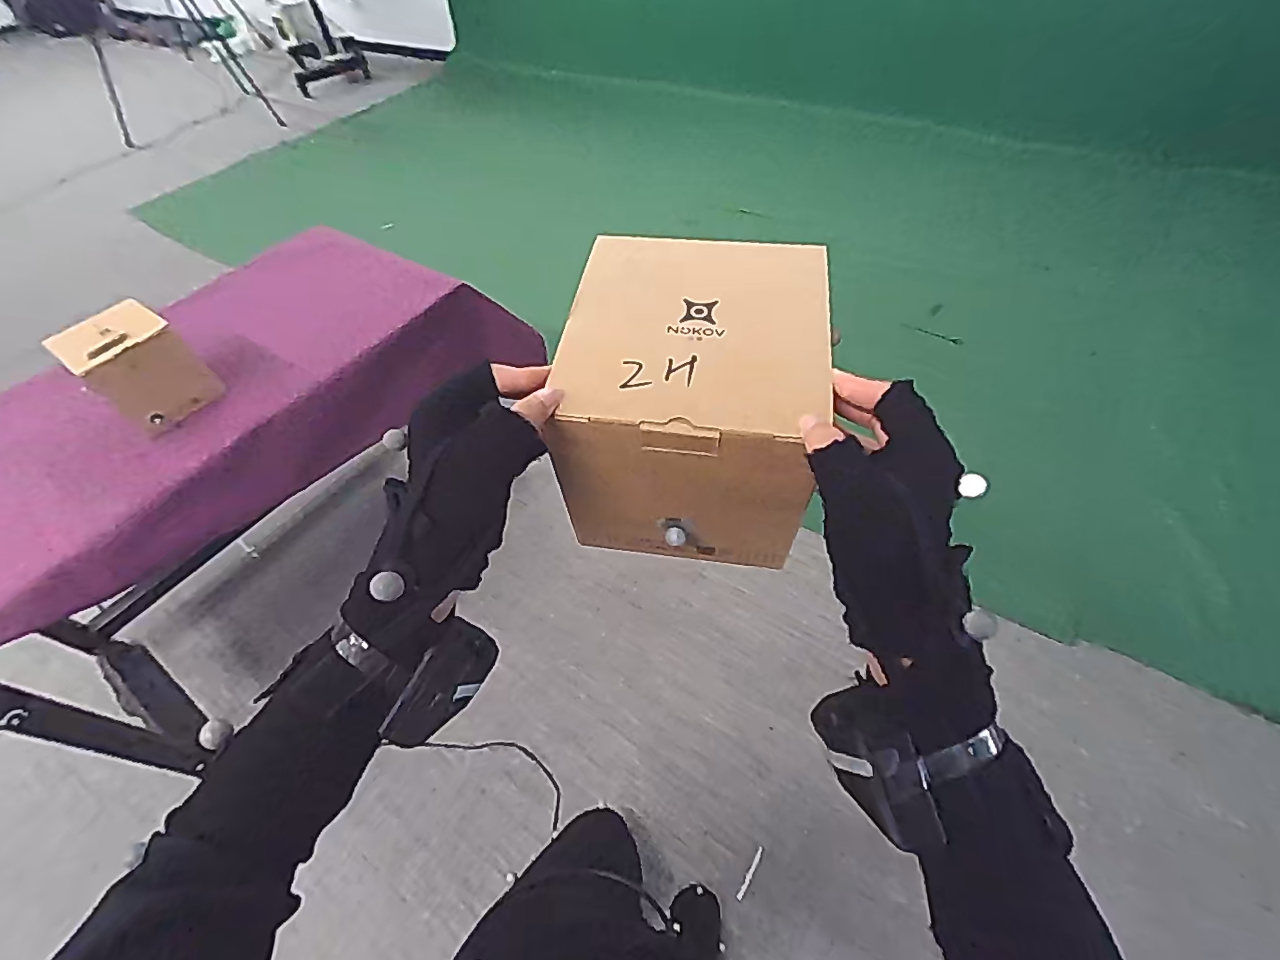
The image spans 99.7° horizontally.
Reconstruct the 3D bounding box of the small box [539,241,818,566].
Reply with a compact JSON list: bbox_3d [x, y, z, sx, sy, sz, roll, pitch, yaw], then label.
[{"bbox_3d":[0.037,-0.056,0.421,0.168,0.176,0.179,7,57,8],"label":"small box"}]

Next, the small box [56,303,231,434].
[{"bbox_3d":[-0.977,-0.216,1.079,0.179,0.176,0.168,28,59,25],"label":"small box"}]
